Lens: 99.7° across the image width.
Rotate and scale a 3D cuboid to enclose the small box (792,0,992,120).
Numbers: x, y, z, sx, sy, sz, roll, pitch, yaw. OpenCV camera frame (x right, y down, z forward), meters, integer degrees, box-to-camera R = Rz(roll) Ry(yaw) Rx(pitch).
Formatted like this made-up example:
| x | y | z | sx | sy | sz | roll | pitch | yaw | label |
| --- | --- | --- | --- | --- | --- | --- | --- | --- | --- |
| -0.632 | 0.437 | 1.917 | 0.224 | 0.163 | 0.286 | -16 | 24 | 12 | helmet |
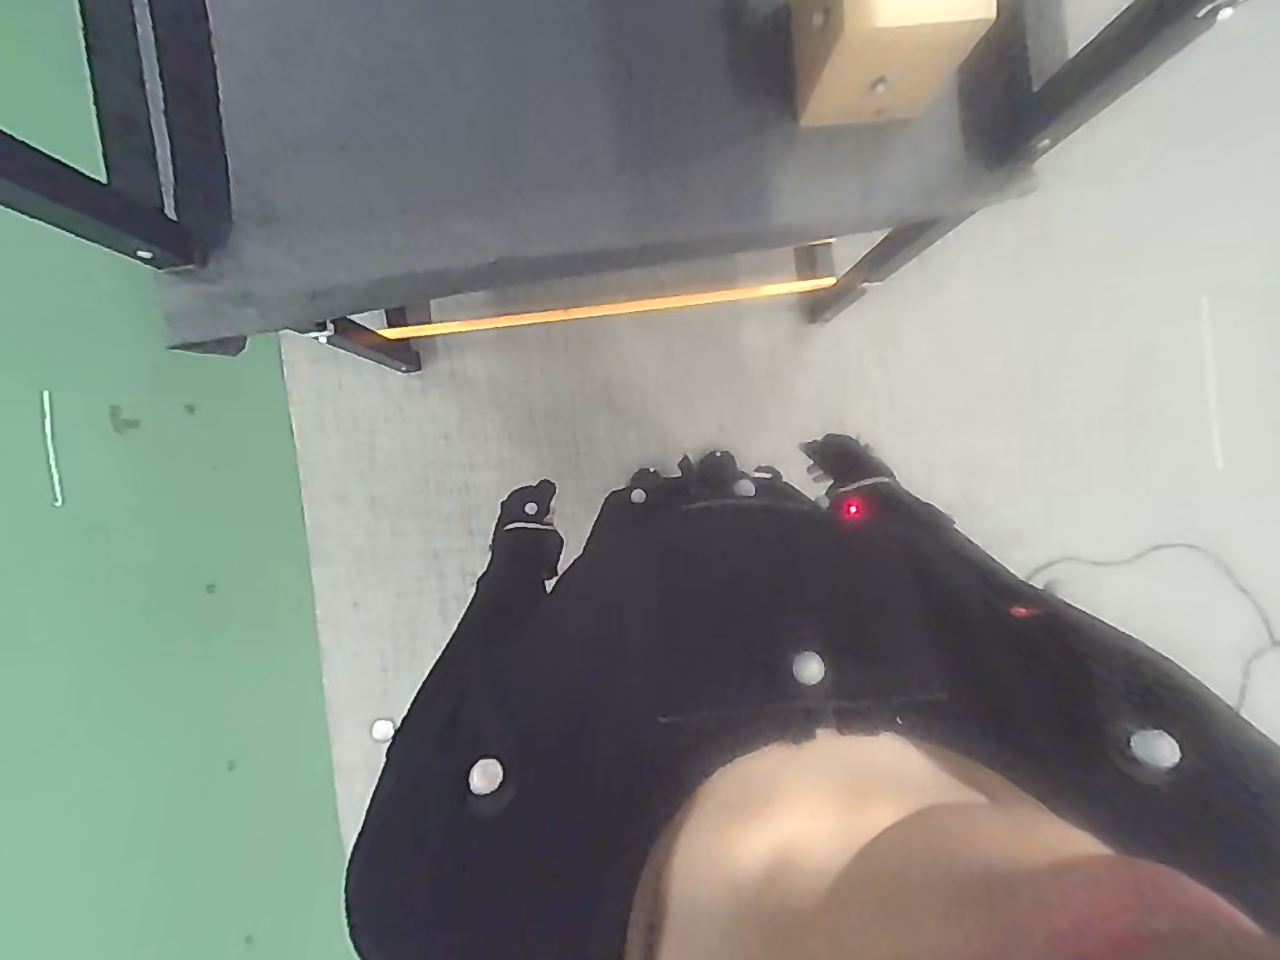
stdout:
| x | y | z | sx | sy | sz | roll | pitch | yaw | label |
| --- | --- | --- | --- | --- | --- | --- | --- | --- | --- |
| 0.290 | -0.569 | 0.655 | 0.168 | 0.176 | 0.179 | -4 | 91 | 0 | small box |
